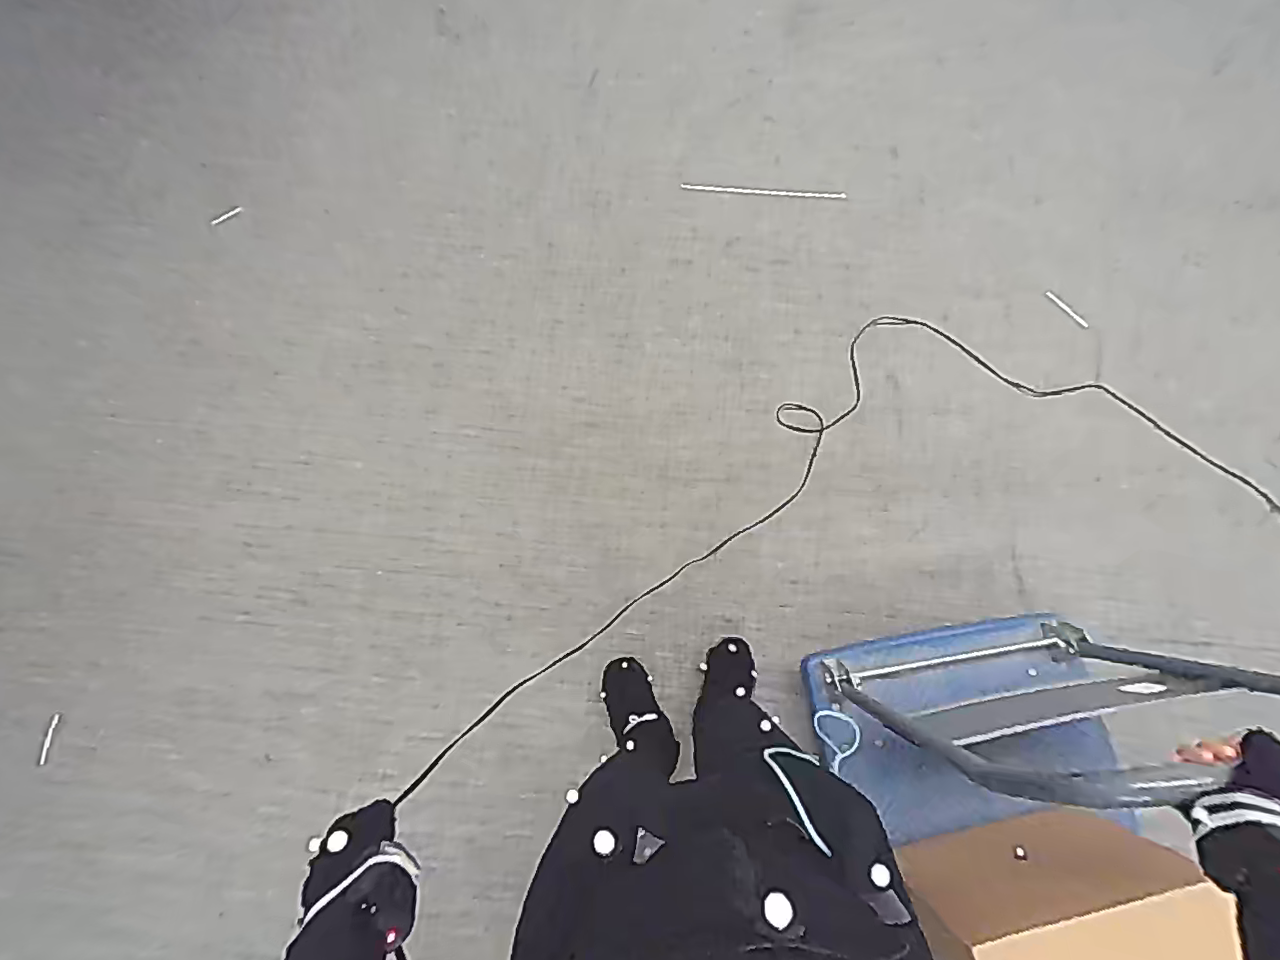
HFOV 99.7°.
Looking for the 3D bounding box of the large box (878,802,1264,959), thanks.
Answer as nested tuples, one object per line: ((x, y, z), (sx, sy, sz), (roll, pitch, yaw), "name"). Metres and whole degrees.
((0.684, 0.786, 0.880), (0.408, 0.320, 0.320), (-13, 78, -4), "large box")
